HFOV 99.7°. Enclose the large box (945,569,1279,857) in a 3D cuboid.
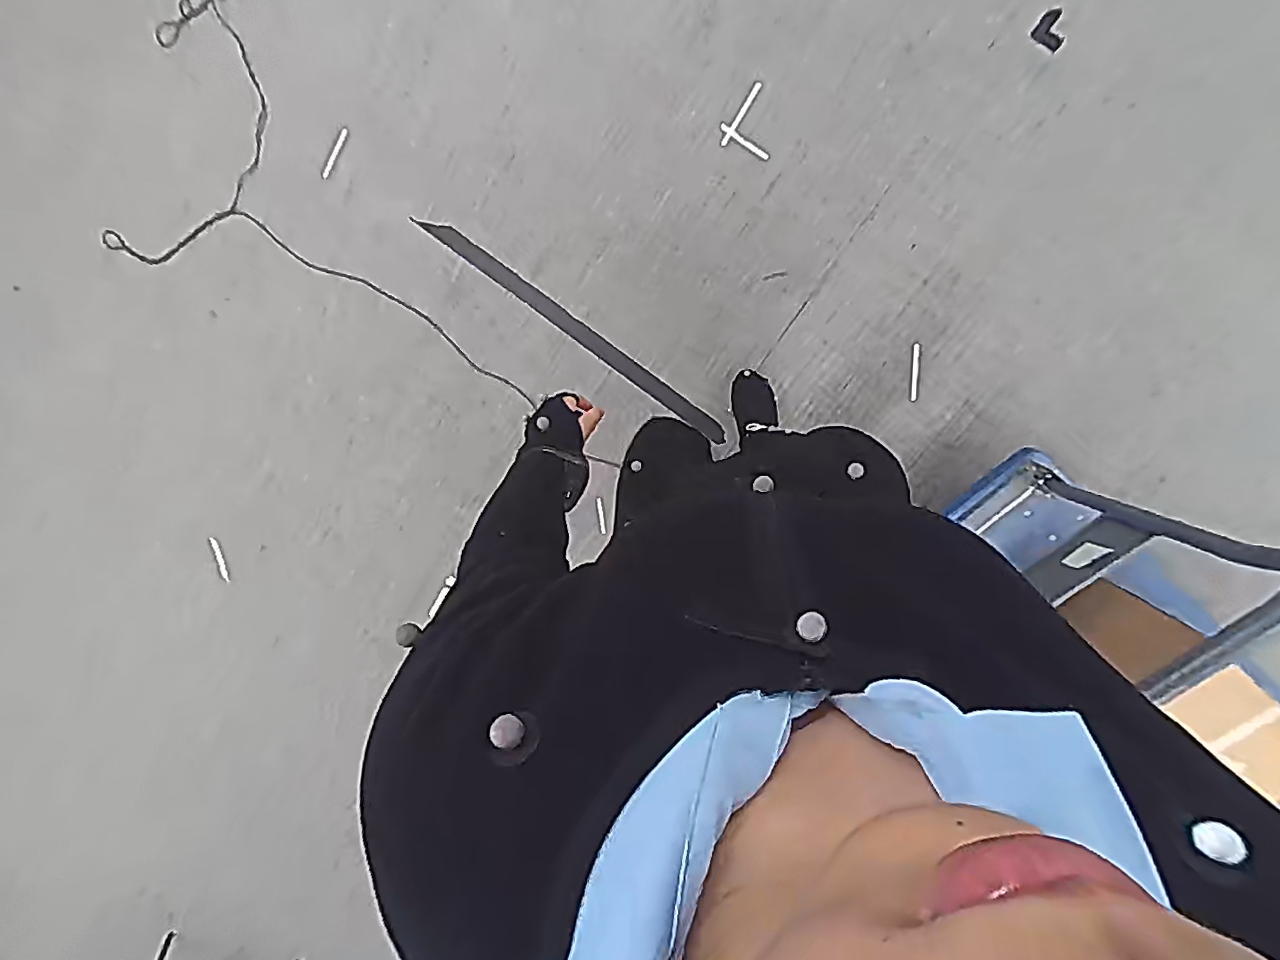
[{"bbox_3d":[0.964,0.466,1.145,0.320,0.320,0.408,45,104,-2],"label":"large box"}]
